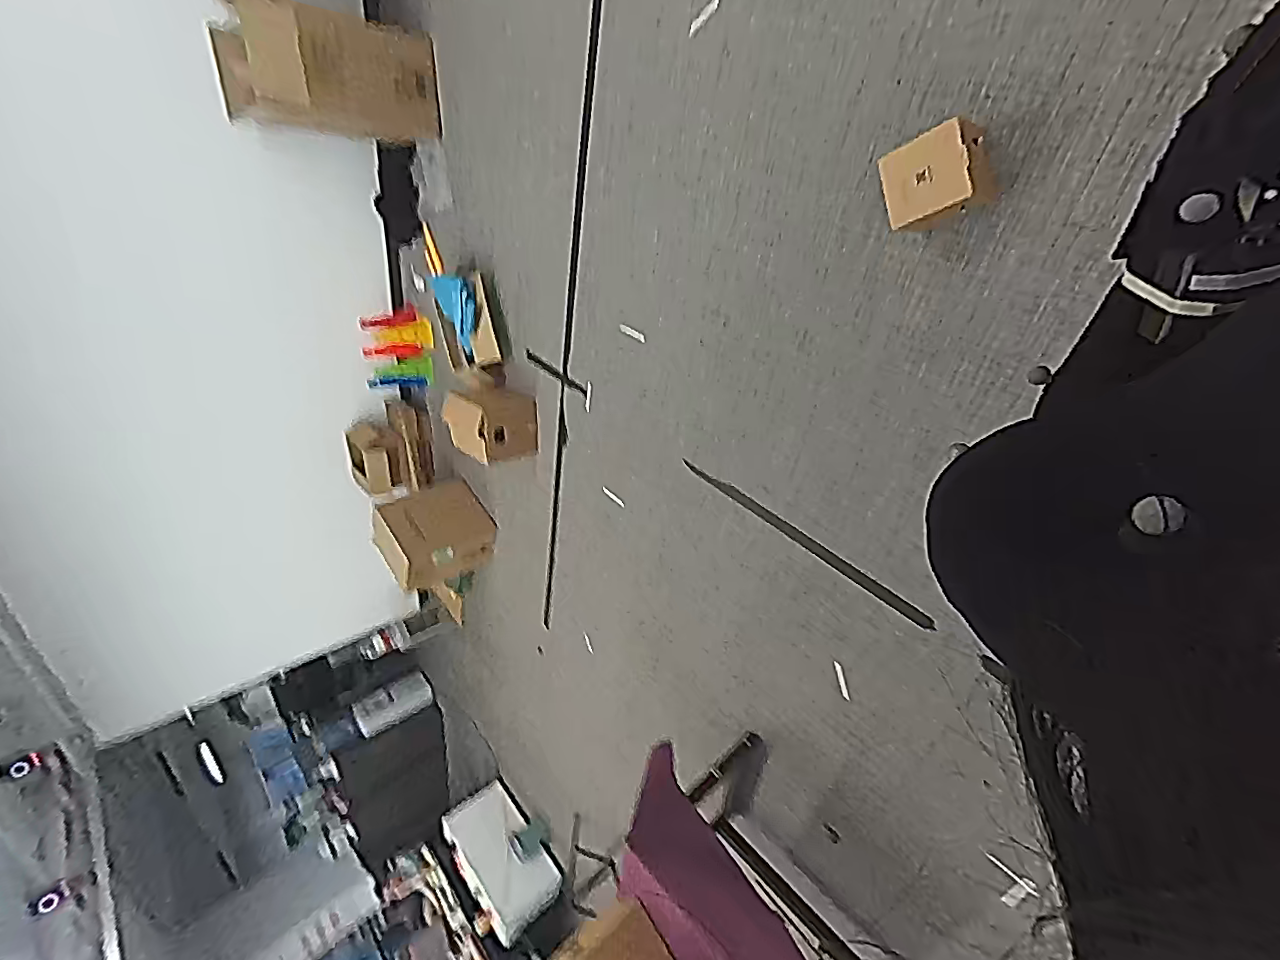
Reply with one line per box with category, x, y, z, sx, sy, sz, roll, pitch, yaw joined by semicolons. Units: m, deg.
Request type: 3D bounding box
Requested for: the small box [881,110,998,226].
small box;0.681;-0.693;1.221;0.179;0.176;0.168;-9;98;52
